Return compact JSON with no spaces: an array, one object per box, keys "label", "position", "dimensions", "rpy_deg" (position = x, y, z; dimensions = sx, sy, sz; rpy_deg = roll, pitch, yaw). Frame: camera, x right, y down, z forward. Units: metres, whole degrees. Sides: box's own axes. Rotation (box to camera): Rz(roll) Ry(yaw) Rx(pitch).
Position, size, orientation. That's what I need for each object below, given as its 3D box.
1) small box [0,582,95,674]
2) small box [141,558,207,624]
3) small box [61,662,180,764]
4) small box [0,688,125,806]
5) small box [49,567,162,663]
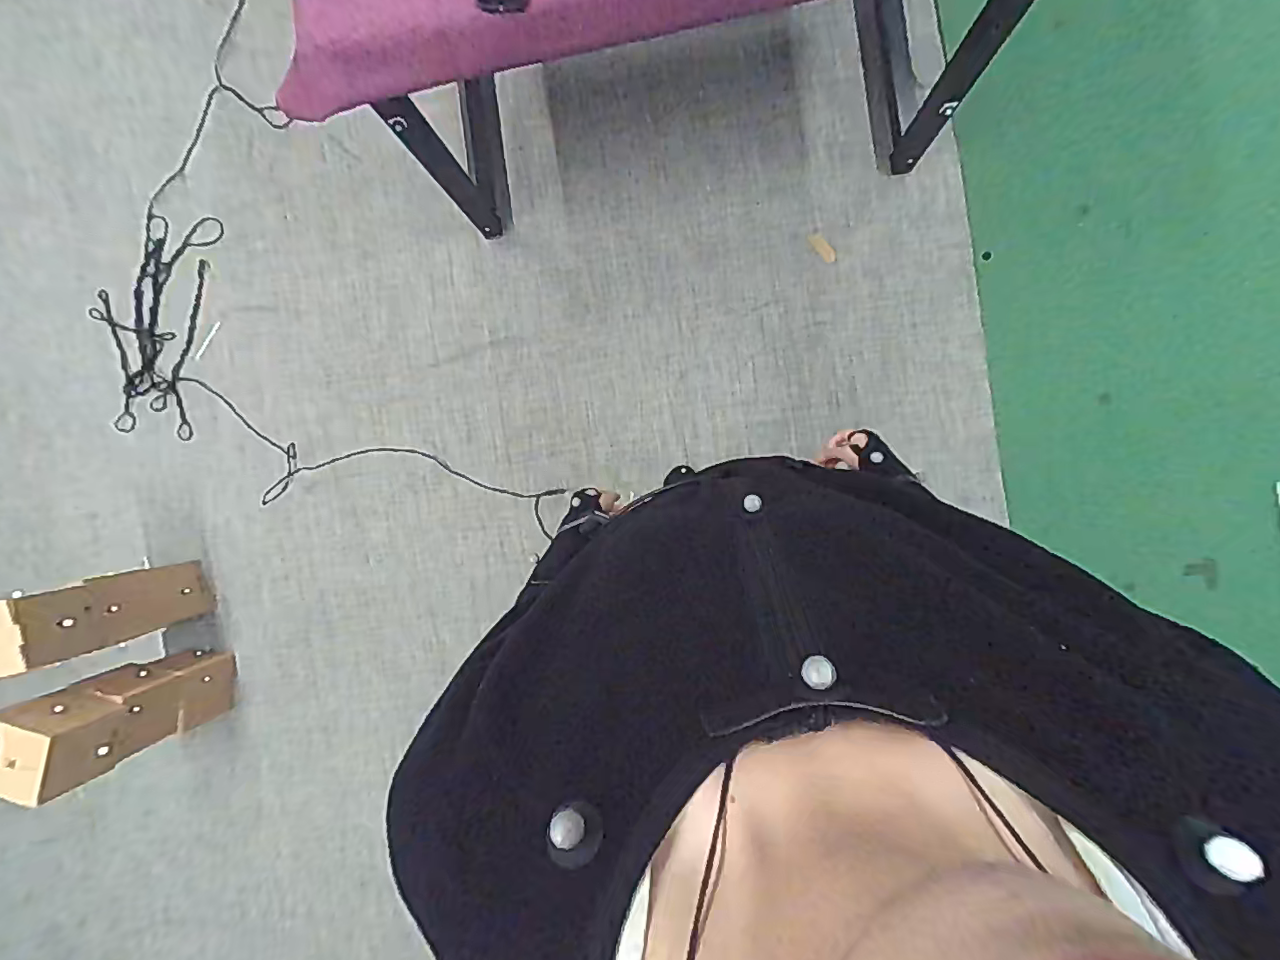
[{"label":"small box","position":[-1.418,0.342,1.245],"dimensions":[0.179,0.176,0.168],"rpy_deg":[-12,90,3]},{"label":"small box","position":[-1.409,0.335,1.570],"dimensions":[0.179,0.176,0.168],"rpy_deg":[-15,89,6]},{"label":"small box","position":[-1.356,0.599,1.410],"dimensions":[0.168,0.176,0.179],"rpy_deg":[9,91,6]},{"label":"small box","position":[-1.363,0.603,1.246],"dimensions":[0.179,0.176,0.168],"rpy_deg":[14,92,5]},{"label":"small box","position":[-1.409,0.343,1.407],"dimensions":[0.168,0.176,0.179],"rpy_deg":[-20,90,4]}]
